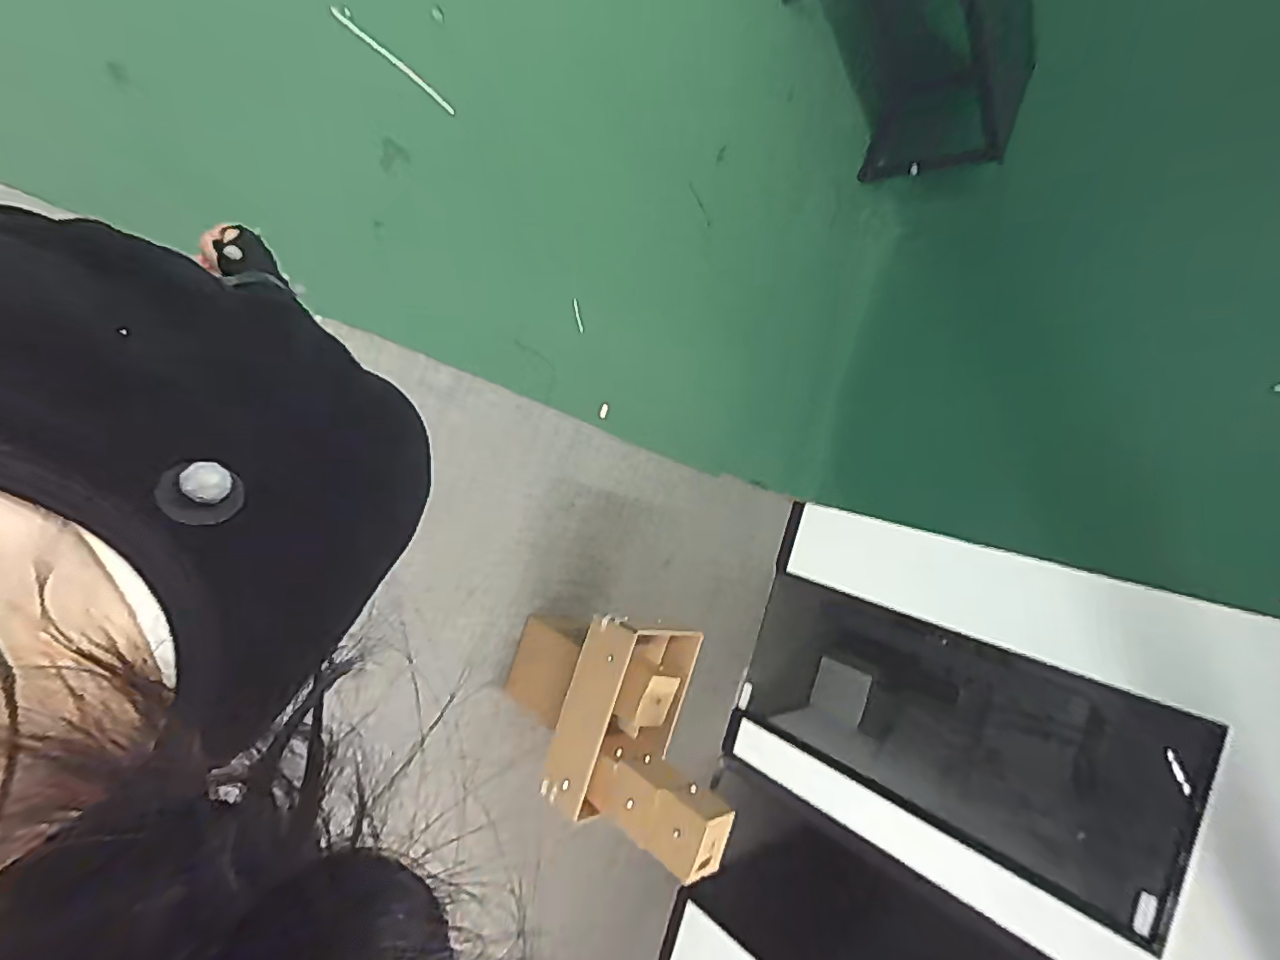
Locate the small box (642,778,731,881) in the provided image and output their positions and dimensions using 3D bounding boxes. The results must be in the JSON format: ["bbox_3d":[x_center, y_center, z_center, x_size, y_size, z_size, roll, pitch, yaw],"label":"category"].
[{"bbox_3d":[0.131,1.005,1.571,0.168,0.176,0.179,26,83,-49],"label":"small box"}]
